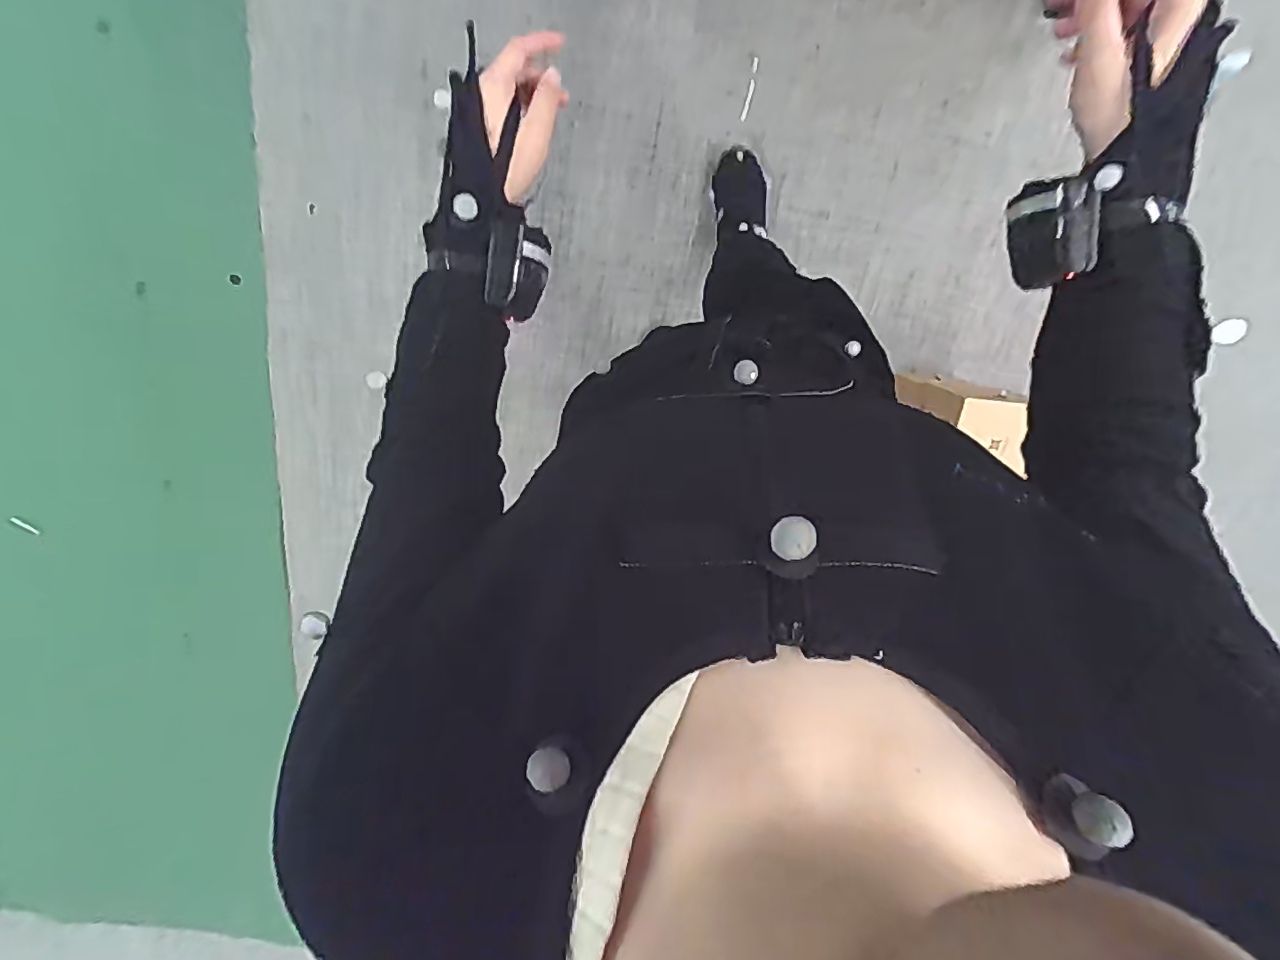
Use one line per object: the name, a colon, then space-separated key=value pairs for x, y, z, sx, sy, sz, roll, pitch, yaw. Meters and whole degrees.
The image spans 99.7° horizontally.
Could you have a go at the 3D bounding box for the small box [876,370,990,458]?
small box: x=0.669 y=-0.152 z=1.246 sx=0.168 sy=0.176 sz=0.179 roll=5 pitch=111 yaw=-1

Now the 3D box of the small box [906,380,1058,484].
small box: x=0.674 y=-0.102 z=1.090 sx=0.179 sy=0.176 sz=0.168 roll=5 pitch=110 yaw=-1
